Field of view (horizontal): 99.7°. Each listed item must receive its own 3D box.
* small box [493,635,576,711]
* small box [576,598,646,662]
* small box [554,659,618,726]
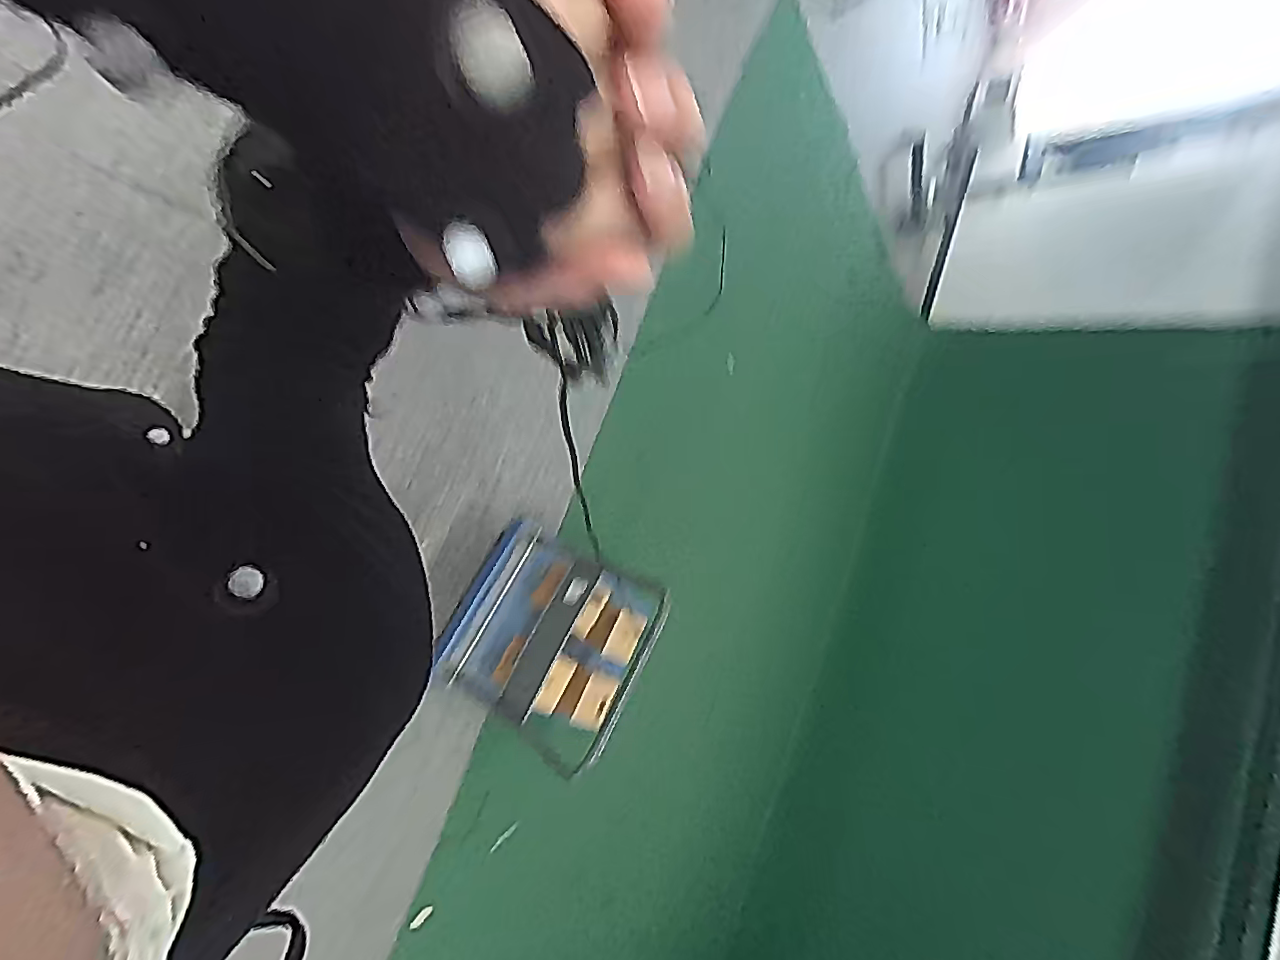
[{"bbox_3d":[-0.360,0.652,1.839,0.179,0.176,0.168,47,66,-43],"label":"small box"},{"bbox_3d":[-0.114,0.574,2.085,0.179,0.176,0.168,41,70,-45],"label":"small box"},{"bbox_3d":[-0.221,0.793,2.024,0.179,0.176,0.168,41,69,-44],"label":"small box"}]
